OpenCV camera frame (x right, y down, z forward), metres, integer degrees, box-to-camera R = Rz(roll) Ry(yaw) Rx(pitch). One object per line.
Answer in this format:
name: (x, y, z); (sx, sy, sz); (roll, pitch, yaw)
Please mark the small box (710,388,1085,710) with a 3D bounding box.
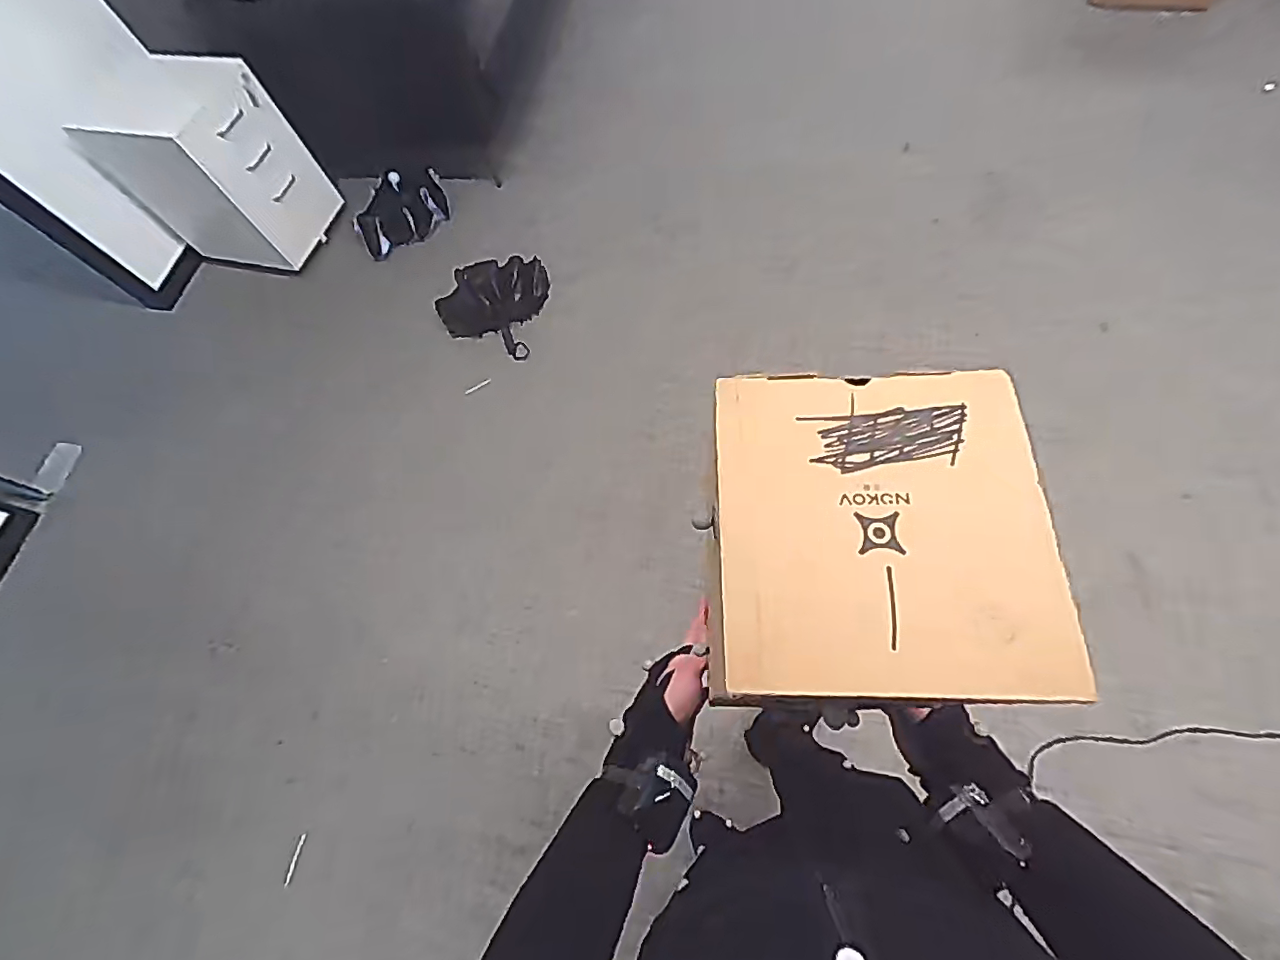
small box: (0.134, 0.057, 0.363); (0.168, 0.176, 0.179); (-1, 68, 5)
